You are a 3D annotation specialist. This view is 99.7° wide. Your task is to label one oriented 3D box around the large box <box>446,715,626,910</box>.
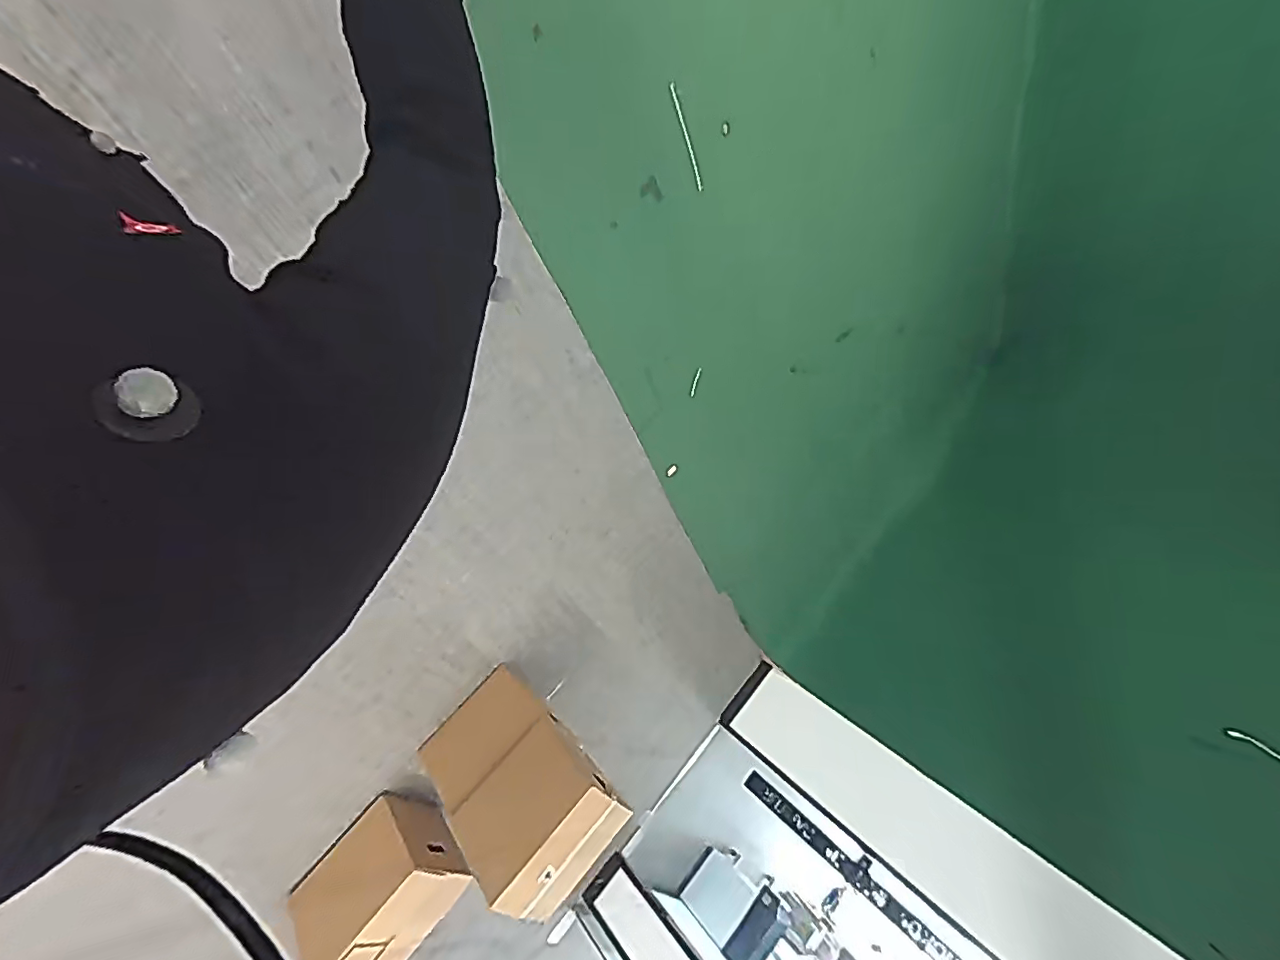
[{"bbox_3d":[-0.326,1.051,1.730,0.408,0.320,0.320,-45,134,-16],"label":"large box"}]
